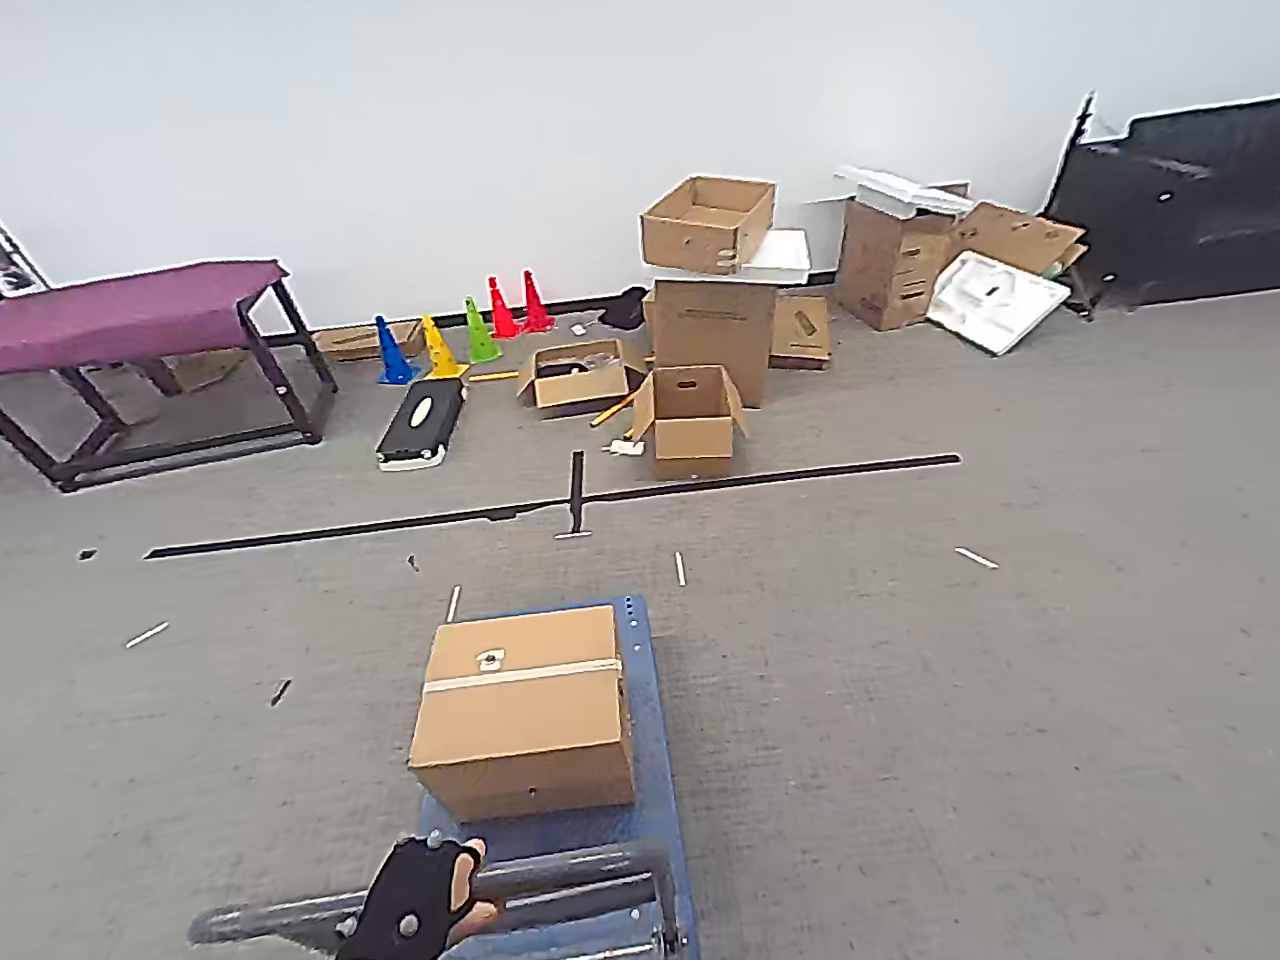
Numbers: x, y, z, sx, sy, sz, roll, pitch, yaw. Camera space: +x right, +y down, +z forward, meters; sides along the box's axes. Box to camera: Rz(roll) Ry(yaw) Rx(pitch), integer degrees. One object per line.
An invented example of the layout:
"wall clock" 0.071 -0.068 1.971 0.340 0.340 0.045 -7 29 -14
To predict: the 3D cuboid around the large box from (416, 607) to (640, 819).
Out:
"large box" -0.226 0.530 1.232 0.408 0.320 0.320 -8 40 0
